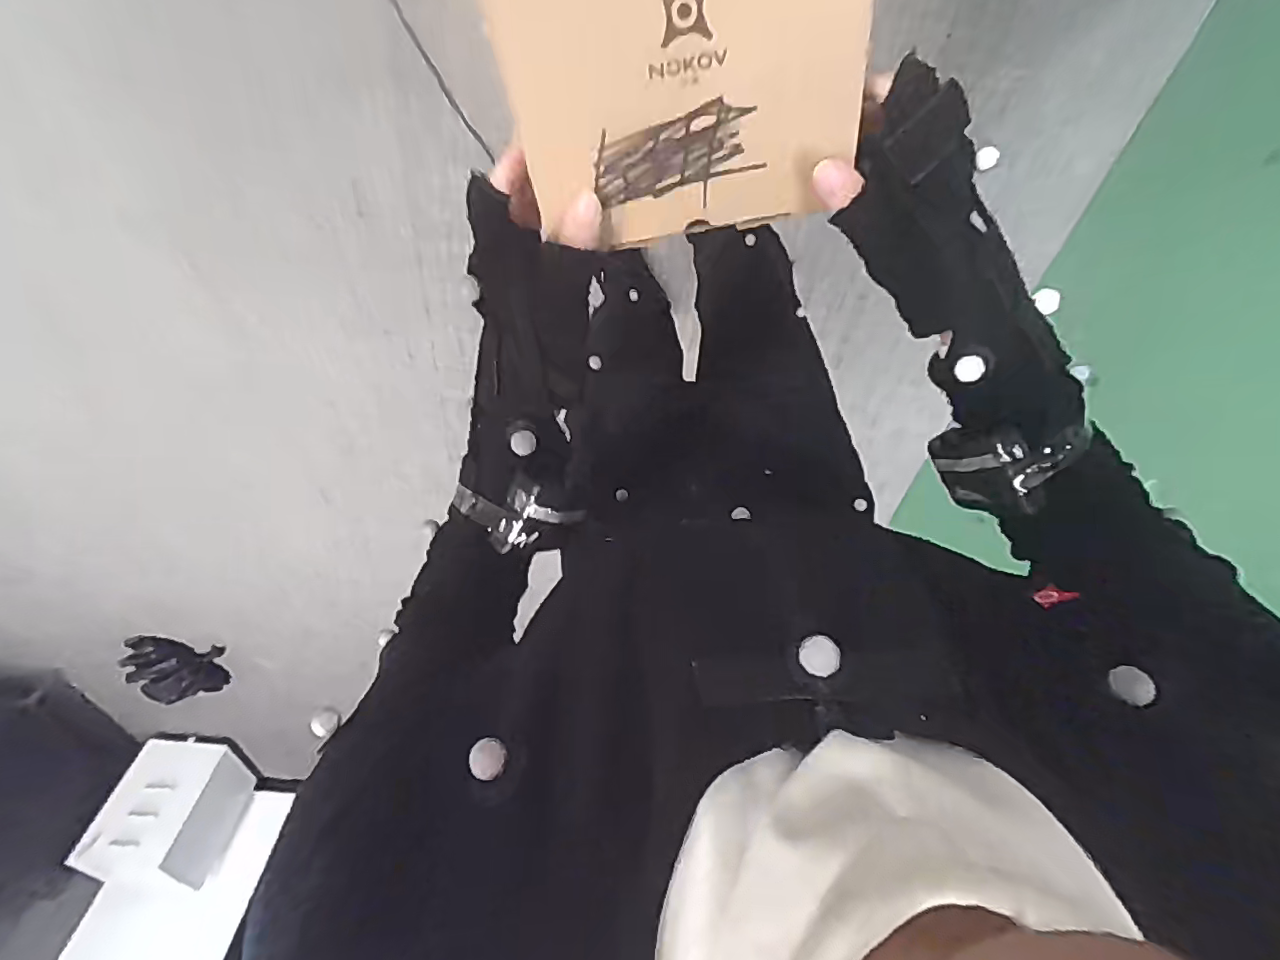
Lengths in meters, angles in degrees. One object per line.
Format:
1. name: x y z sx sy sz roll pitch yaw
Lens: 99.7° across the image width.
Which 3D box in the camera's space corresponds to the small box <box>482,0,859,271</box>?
1. small box: 0.013 -0.250 0.307 0.168 0.176 0.179 -9 136 3
